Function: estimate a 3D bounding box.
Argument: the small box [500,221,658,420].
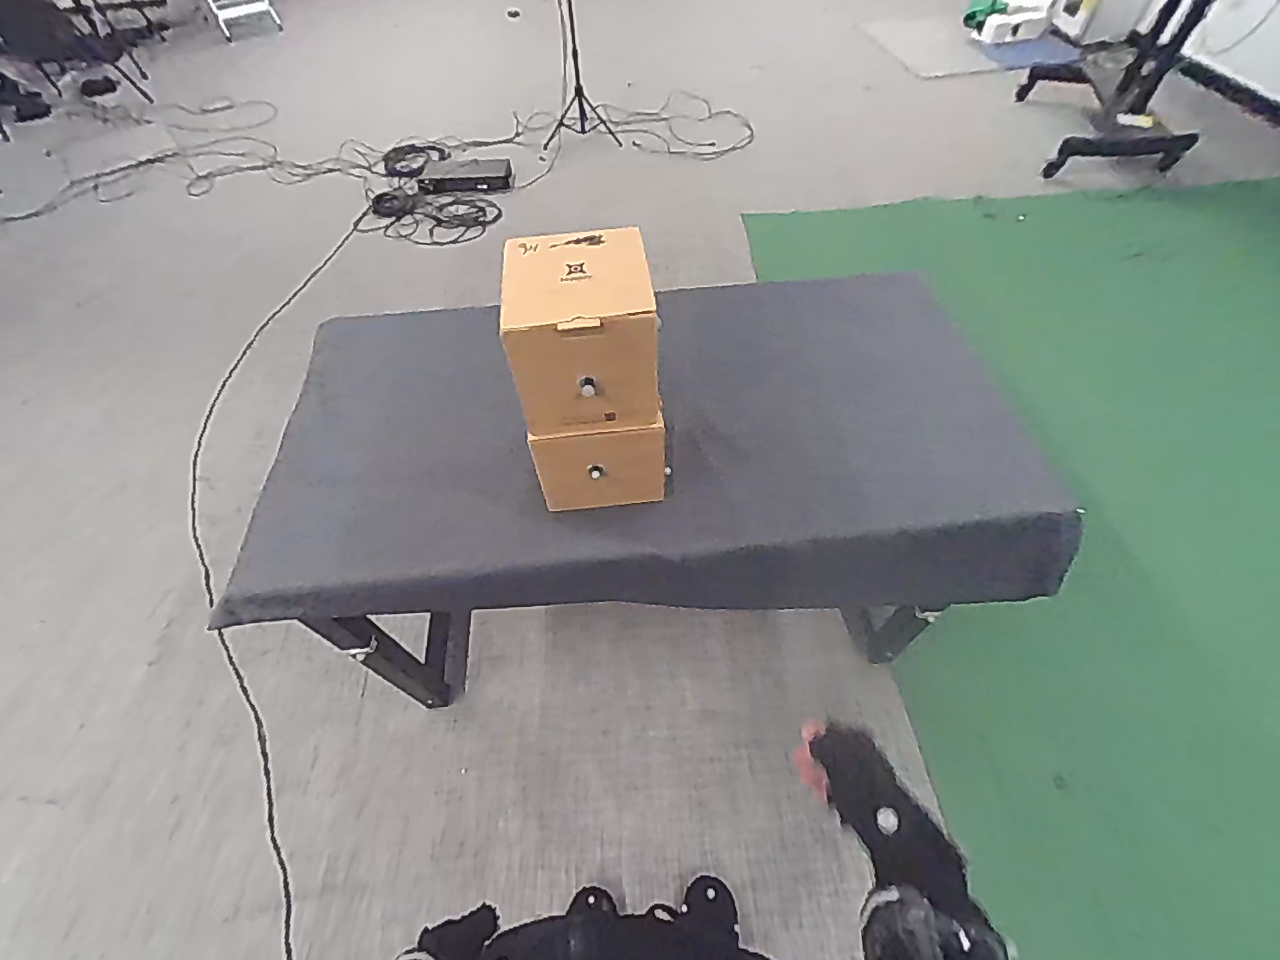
[{"bbox_3d":[-0.069,-0.189,0.670,0.168,0.176,0.179,-6,55,-2],"label":"small box"}]

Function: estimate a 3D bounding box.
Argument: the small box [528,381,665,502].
[{"bbox_3d":[-0.060,-0.084,0.795,0.179,0.176,0.168,-6,54,-1],"label":"small box"}]
